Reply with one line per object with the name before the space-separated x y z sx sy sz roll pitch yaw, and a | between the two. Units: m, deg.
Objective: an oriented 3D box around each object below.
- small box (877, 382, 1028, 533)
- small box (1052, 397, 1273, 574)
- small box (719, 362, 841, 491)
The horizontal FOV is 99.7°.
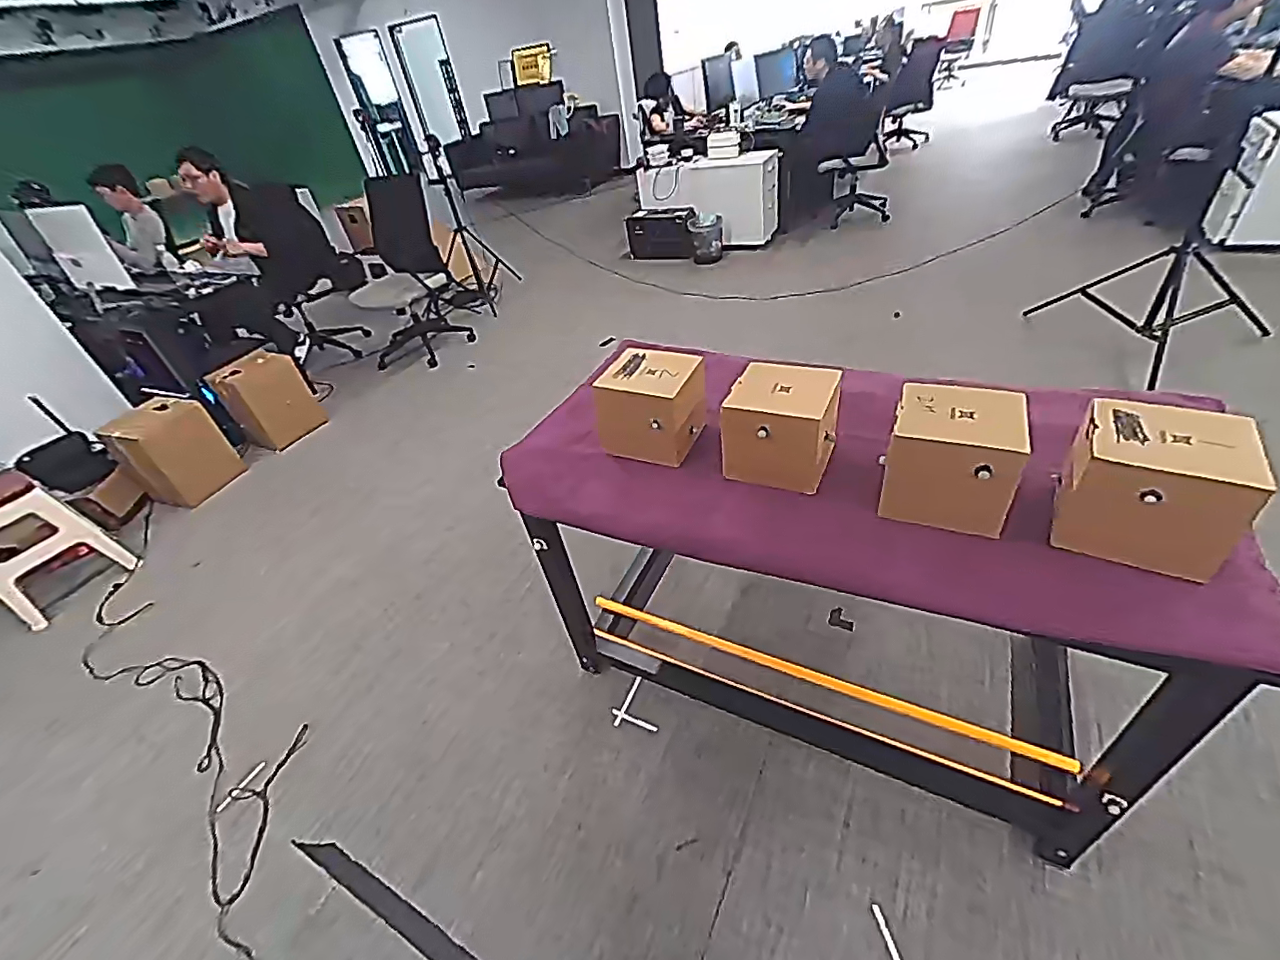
small box | 0.495 -0.038 0.869 0.179 0.176 0.168 11 42 26
small box | 0.712 0.006 0.761 0.179 0.176 0.168 16 45 30
small box | 0.262 -0.099 1.008 0.179 0.176 0.168 11 44 27
